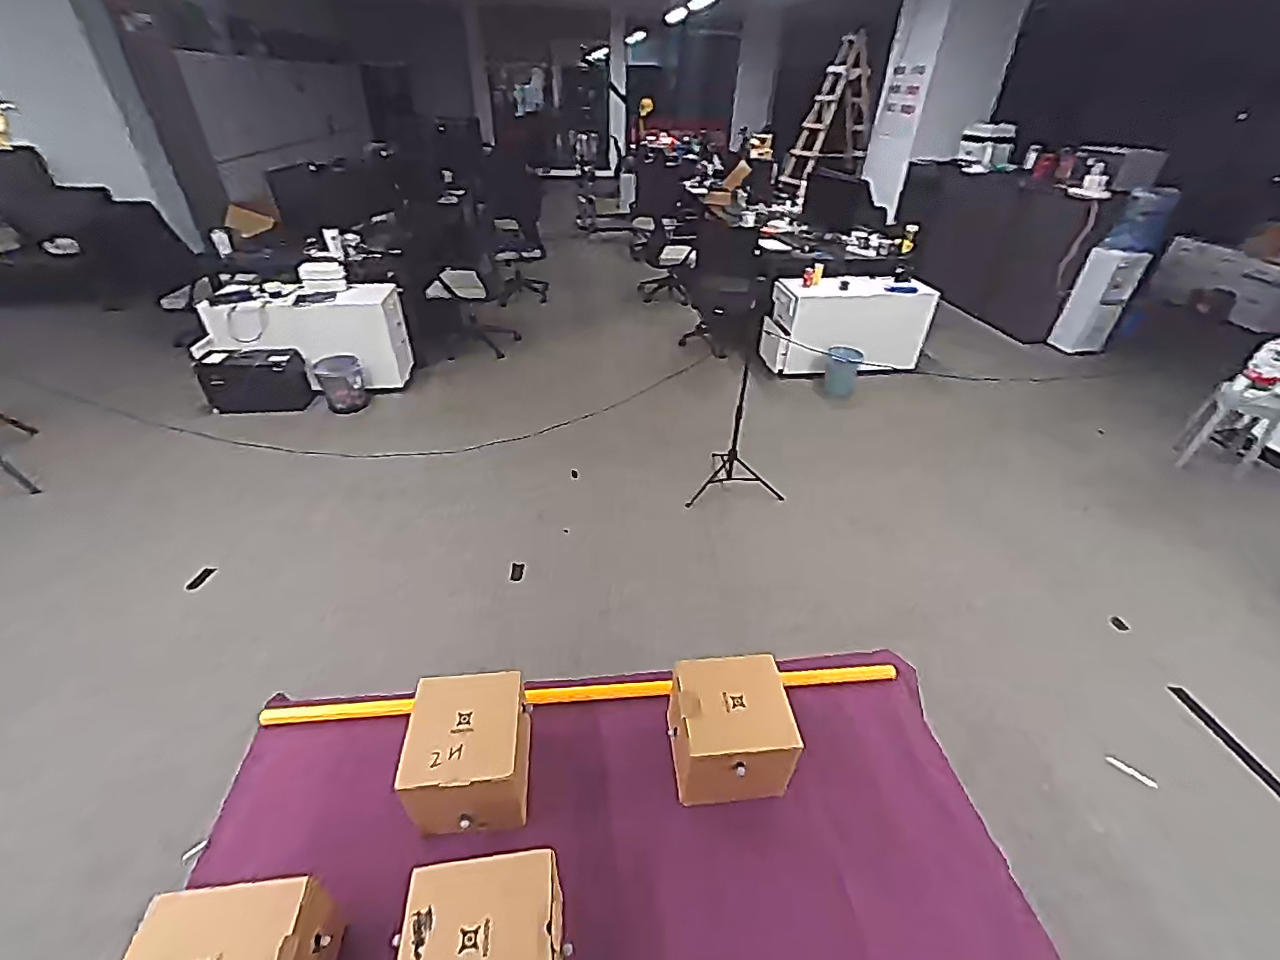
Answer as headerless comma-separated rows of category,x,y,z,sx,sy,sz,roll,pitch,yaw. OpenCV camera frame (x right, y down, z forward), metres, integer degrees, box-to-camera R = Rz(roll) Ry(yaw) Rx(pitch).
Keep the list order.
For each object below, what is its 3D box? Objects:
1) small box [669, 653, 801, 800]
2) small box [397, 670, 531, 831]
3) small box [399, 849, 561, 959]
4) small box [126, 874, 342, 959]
small box,0.150,0.418,0.919,0.179,0.176,0.168,-3,38,-5
small box,-0.271,0.435,0.876,0.168,0.176,0.179,-3,38,-5
small box,-0.188,0.589,0.668,0.179,0.176,0.168,-3,36,-7
small box,-0.482,0.599,0.639,0.179,0.176,0.168,-1,36,-8
